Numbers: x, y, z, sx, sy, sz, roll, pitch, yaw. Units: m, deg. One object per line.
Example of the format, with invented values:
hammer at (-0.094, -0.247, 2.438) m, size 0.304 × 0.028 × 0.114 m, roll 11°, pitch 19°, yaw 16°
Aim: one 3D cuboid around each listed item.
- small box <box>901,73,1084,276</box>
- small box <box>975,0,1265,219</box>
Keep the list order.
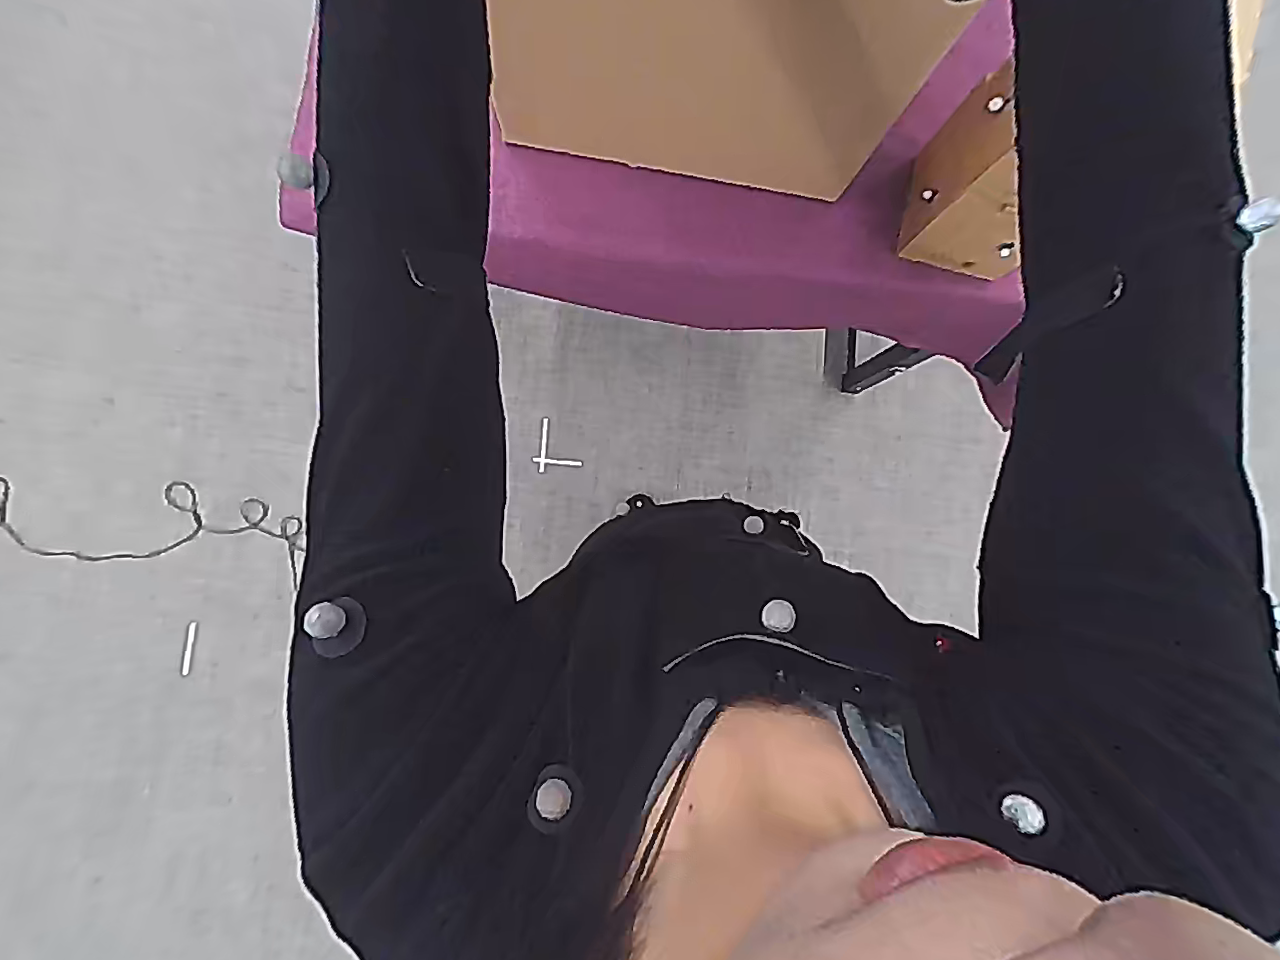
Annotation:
small box at (0.506, -0.423, 0.780) m, size 0.168 × 0.176 × 0.179 m, roll 13°, pitch 84°, yaw -3°
small box at (0.525, -0.436, 0.617) m, size 0.168 × 0.176 × 0.179 m, roll 17°, pitch 85°, yaw -3°
